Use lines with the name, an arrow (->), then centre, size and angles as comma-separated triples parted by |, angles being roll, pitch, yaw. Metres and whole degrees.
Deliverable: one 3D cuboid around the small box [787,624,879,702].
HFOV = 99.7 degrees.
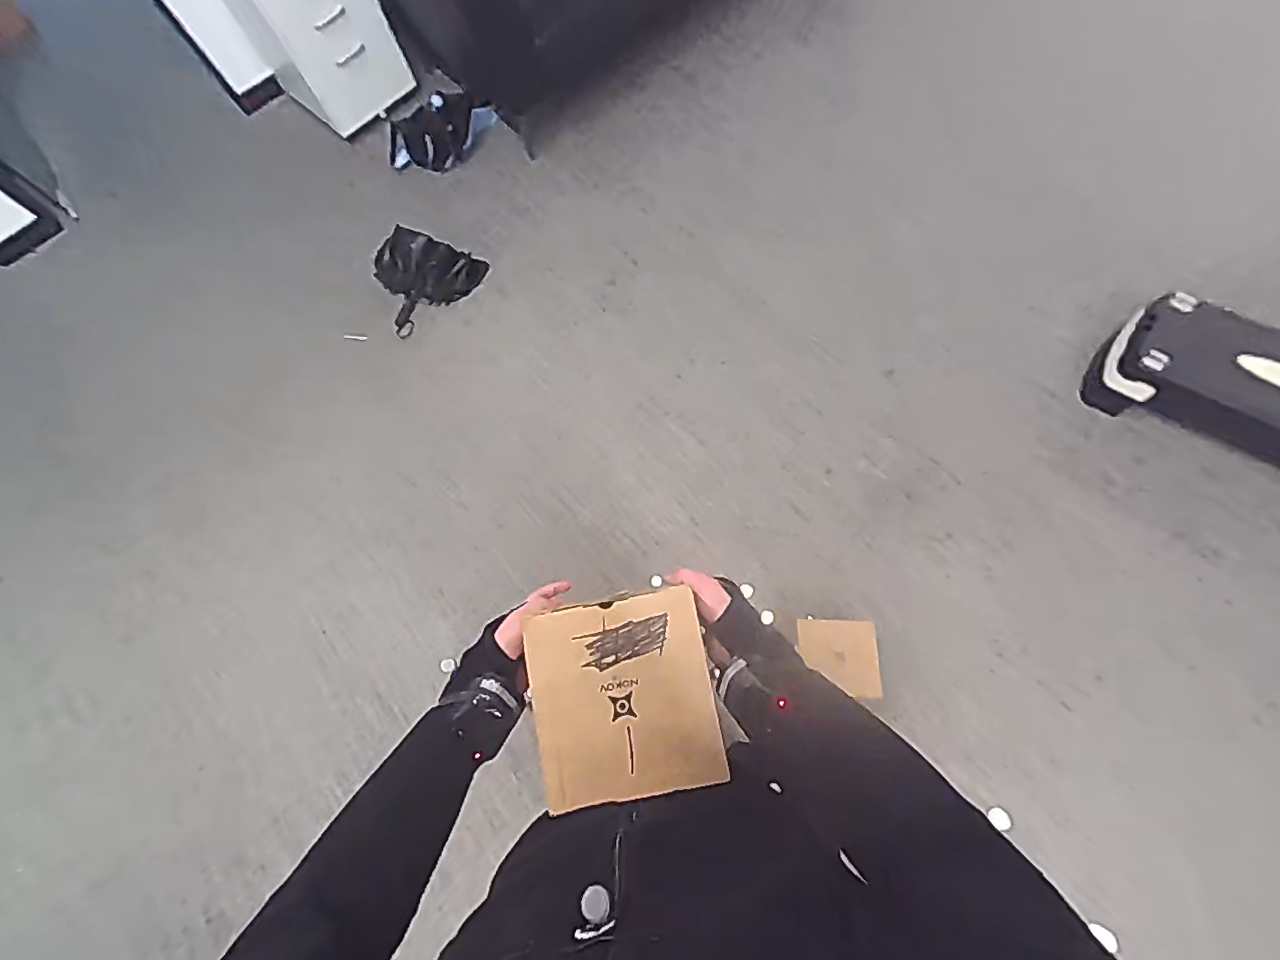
small box -> 0.452, 0.443, 1.300 | 0.179, 0.176, 0.168 | -1, 69, 6
